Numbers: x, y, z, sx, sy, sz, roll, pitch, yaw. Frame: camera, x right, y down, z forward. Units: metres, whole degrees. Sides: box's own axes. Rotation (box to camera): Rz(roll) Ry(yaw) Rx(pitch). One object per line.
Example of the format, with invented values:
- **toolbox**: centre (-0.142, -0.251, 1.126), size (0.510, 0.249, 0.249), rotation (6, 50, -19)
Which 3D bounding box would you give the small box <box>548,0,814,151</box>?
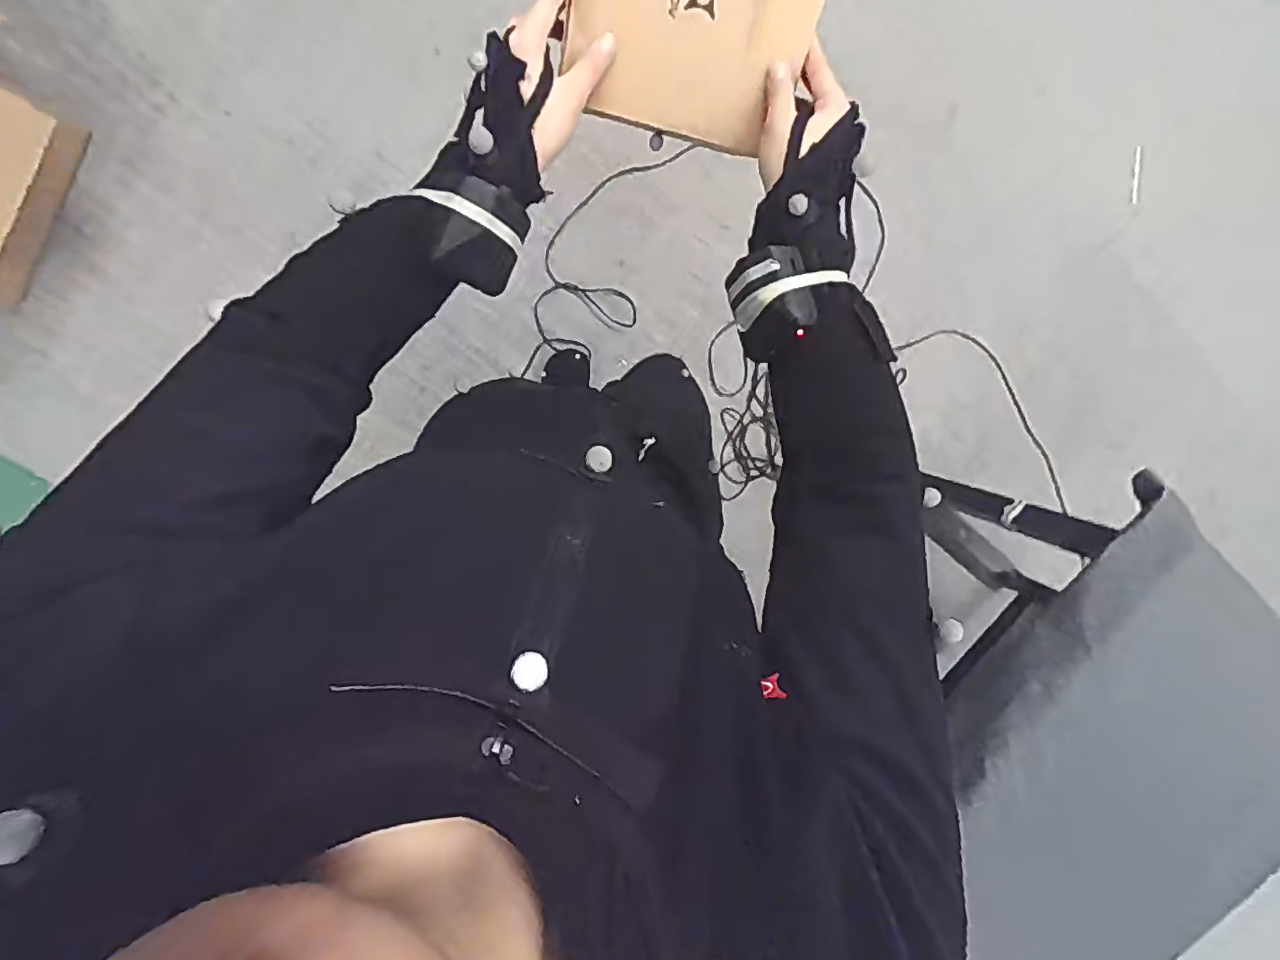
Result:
- **small box**: centre (0.030, -0.379, 0.434), size (0.179, 0.176, 0.168), rotation (9, 122, -10)
